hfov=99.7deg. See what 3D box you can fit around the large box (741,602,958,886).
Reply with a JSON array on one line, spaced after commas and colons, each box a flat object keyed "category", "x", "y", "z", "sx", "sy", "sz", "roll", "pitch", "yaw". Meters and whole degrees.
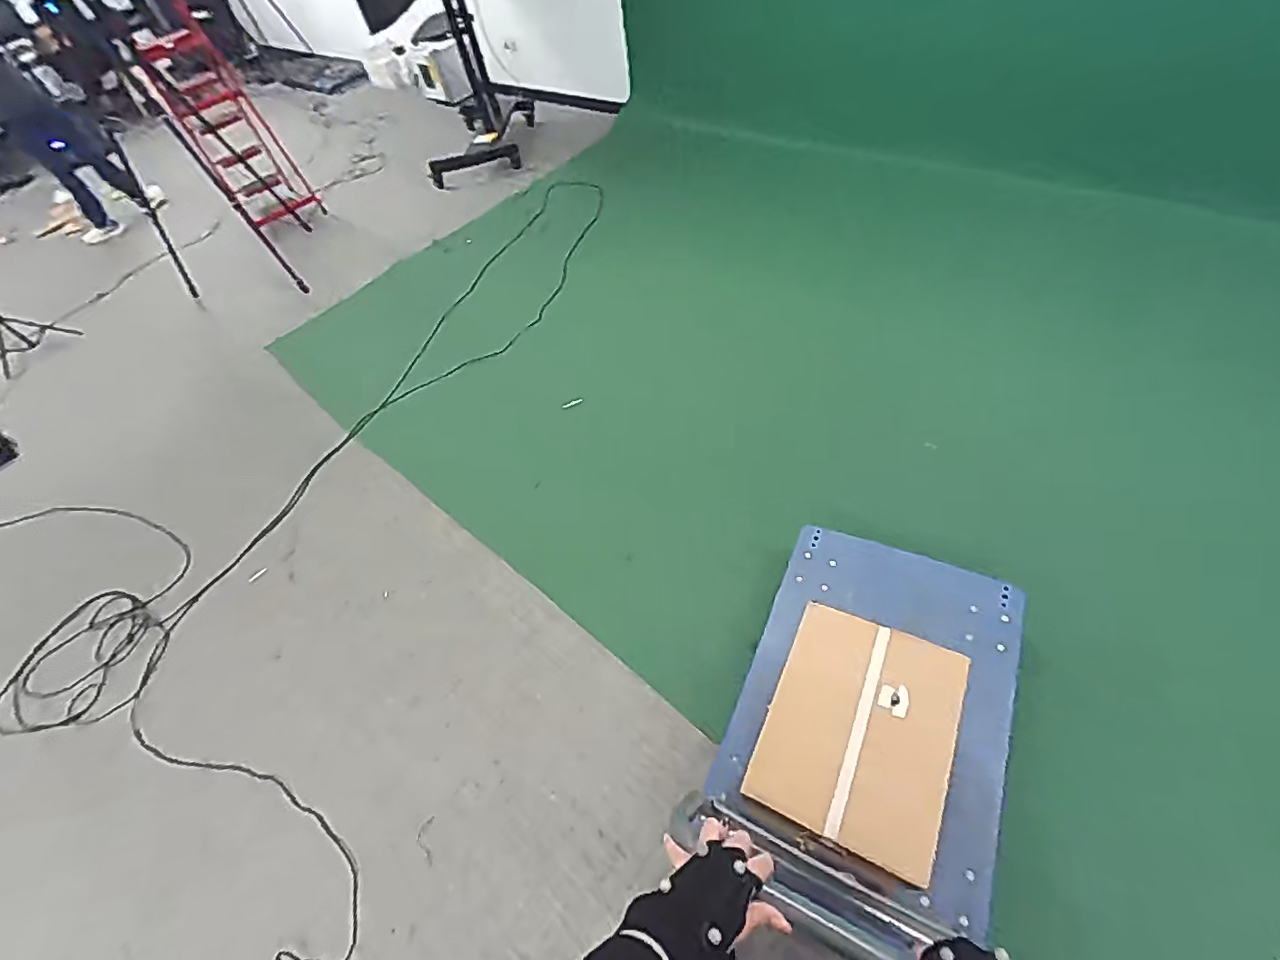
[{"category": "large box", "x": 0.424, "y": 0.539, "z": 1.124, "sx": 0.320, "sy": 0.320, "sz": 0.408, "roll": 17, "pitch": 58, "yaw": 23}]
